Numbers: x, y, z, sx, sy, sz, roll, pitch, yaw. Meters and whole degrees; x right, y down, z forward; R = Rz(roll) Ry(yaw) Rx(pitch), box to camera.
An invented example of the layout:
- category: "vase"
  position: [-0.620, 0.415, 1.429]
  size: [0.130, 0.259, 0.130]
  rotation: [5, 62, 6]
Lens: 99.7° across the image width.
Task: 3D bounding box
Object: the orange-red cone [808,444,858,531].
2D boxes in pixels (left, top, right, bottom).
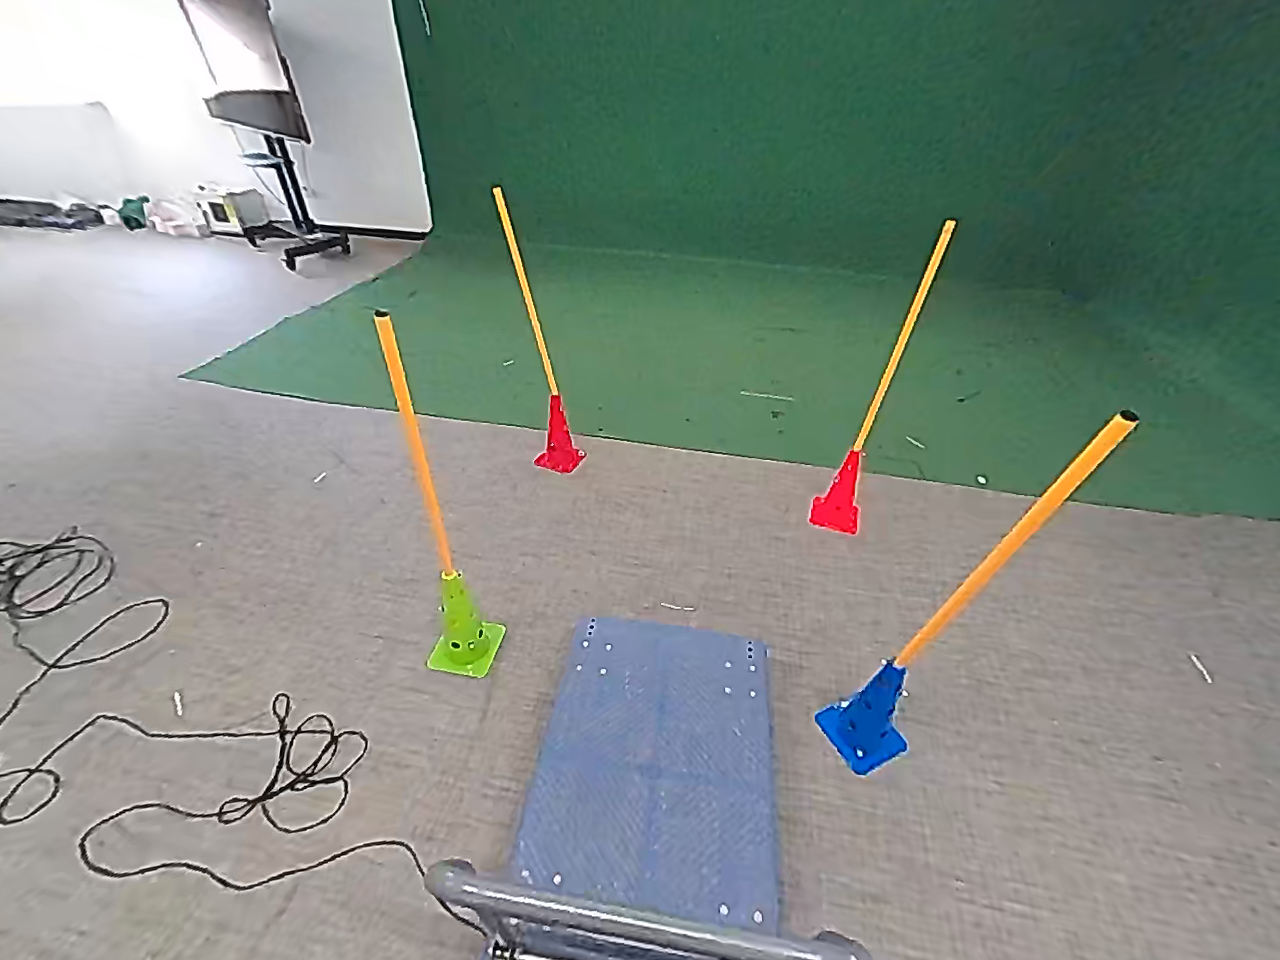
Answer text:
- category: "orange-red cone"
  position: [0.846, 0.008, 2.254]
  size: [0.198, 0.360, 0.199]
  rotation: [15, 41, 16]
